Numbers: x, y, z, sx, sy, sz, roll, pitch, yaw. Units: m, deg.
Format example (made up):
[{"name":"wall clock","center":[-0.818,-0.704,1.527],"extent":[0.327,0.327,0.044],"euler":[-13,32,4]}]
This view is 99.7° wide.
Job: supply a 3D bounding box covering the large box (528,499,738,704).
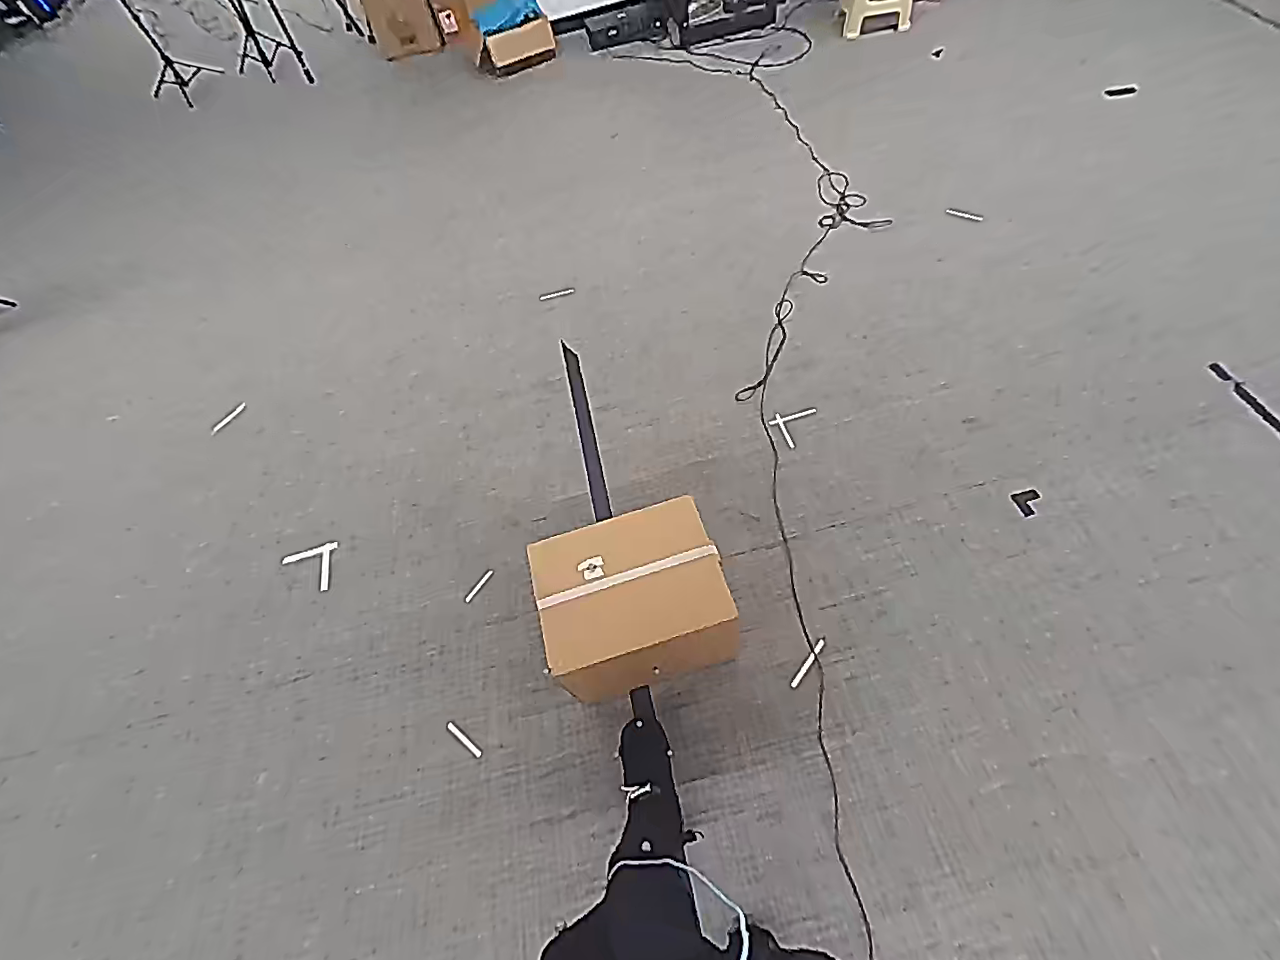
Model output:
[{"name":"large box","center":[-0.008,0.301,1.297],"extent":[0.408,0.320,0.320],"euler":[-18,56,-1]}]
